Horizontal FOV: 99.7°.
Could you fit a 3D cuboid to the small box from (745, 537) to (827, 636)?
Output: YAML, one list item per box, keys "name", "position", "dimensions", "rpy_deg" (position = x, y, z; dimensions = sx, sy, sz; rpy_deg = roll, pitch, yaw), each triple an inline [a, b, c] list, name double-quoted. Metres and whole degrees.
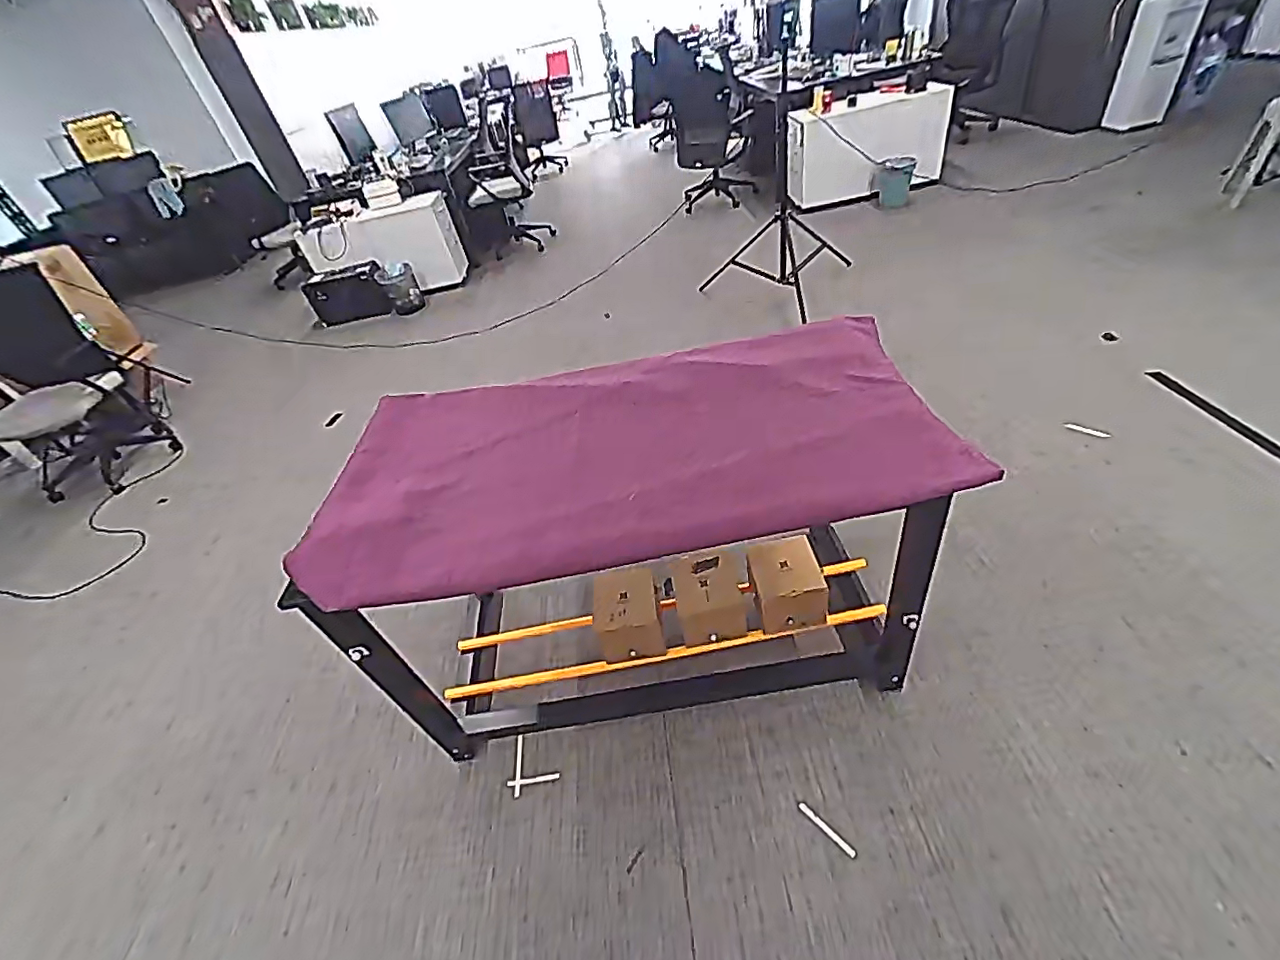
- name: "small box"
  position: [0.379, 0.281, 1.423]
  dimensions: [0.168, 0.176, 0.179]
  rpy_deg: [-12, 42, 3]

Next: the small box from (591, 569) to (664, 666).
- name: "small box"
  position: [-0.032, 0.367, 1.443]
  dimensions: [0.168, 0.176, 0.179]
  rpy_deg: [-10, 43, 4]
